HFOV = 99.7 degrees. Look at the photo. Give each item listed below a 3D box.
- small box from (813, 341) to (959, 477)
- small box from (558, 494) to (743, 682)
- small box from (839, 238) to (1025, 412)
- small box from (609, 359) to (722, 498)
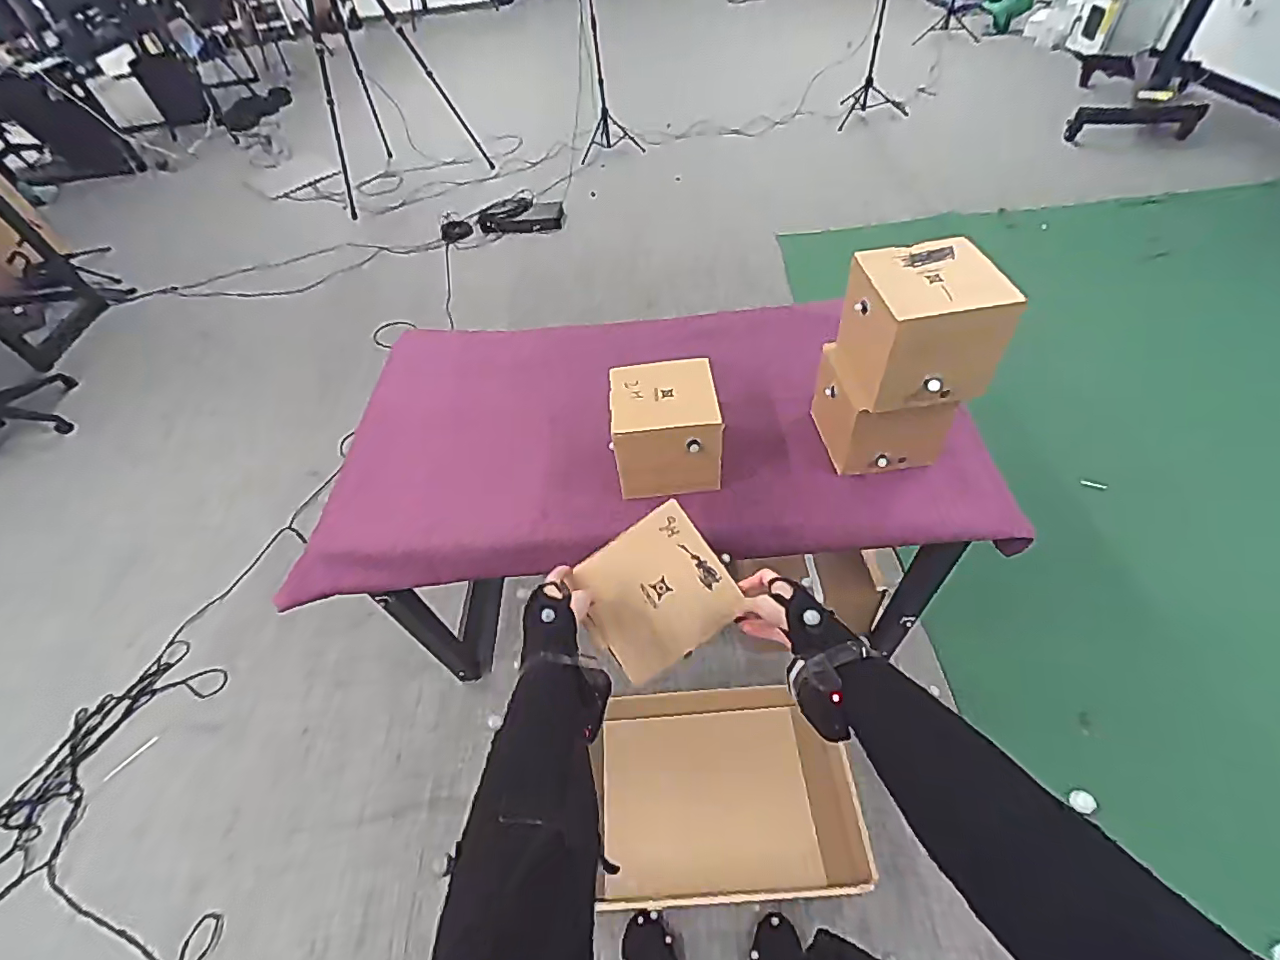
[{"bbox_3d":[0.408,-0.129,0.930,0.168,0.176,0.179,-8,50,3],"label":"small box"},{"bbox_3d":[0.020,0.143,0.736,0.179,0.176,0.168,-35,79,0],"label":"small box"},{"bbox_3d":[0.407,-0.226,0.796,0.168,0.176,0.179,-8,50,3],"label":"small box"},{"bbox_3d":[0.044,-0.087,0.943,0.179,0.176,0.168,-6,49,3],"label":"small box"}]
